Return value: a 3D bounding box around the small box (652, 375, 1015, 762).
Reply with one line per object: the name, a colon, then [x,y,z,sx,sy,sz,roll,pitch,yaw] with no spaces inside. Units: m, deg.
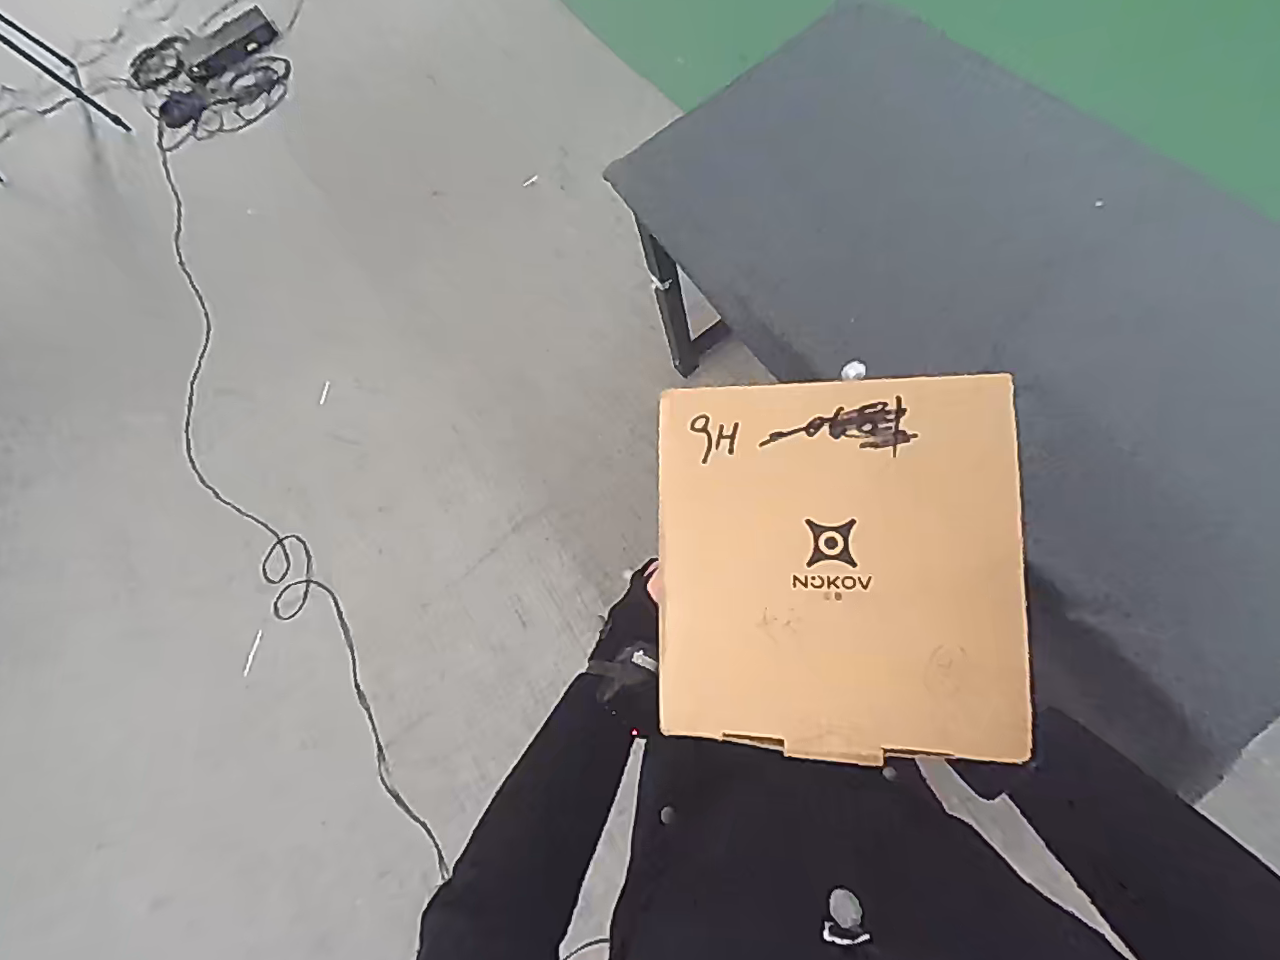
small box: [0.103,0.041,0.335,0.168,0.176,0.179,0,87,11]
